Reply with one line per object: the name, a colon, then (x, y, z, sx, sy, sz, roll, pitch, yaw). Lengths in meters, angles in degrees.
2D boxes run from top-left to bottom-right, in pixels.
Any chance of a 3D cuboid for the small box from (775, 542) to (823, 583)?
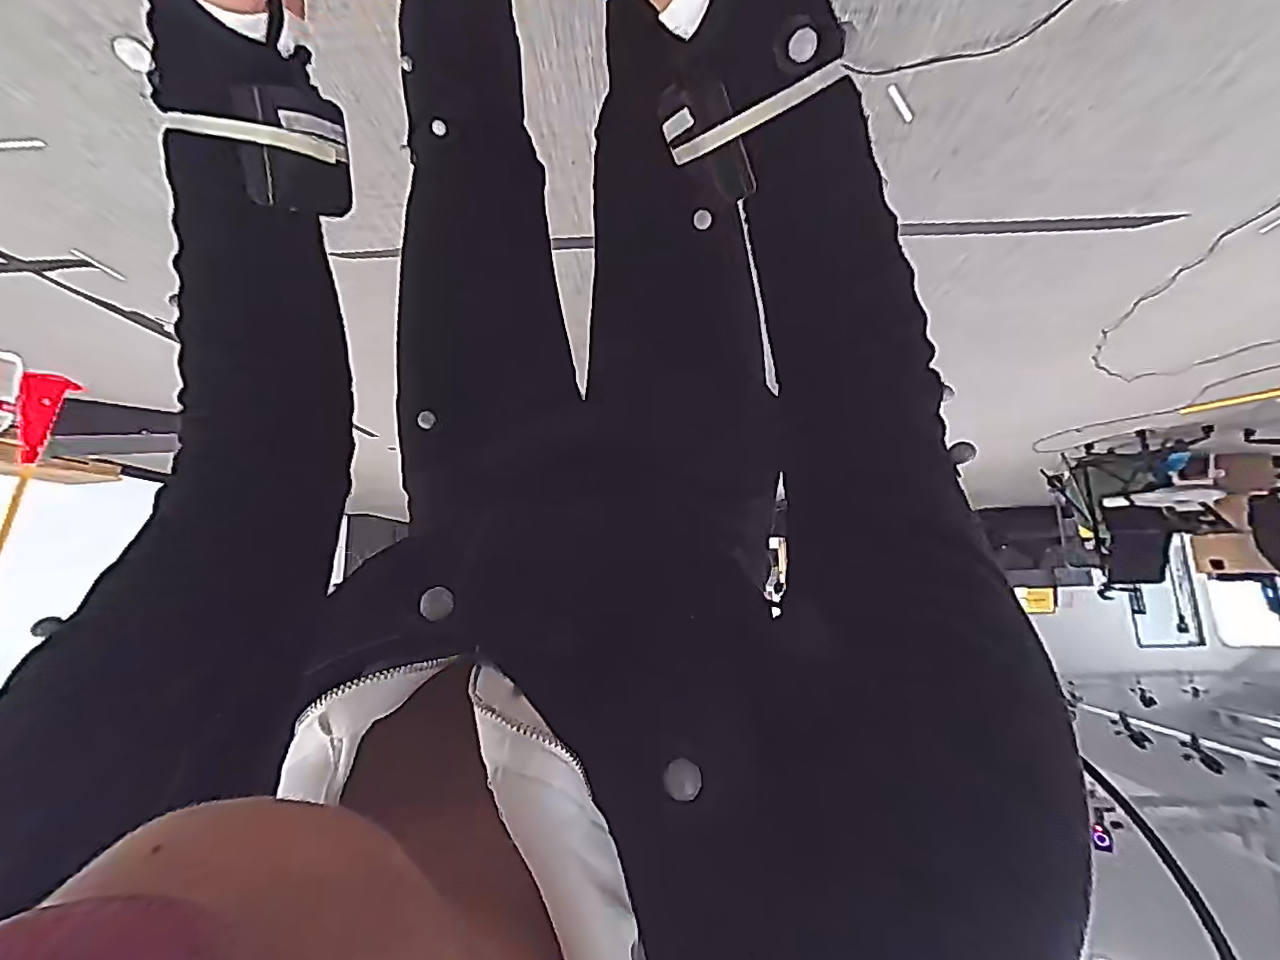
small box: (0.668, 0.350, 2.291, 0.168, 0.176, 0.179, -1, 170, 6)
